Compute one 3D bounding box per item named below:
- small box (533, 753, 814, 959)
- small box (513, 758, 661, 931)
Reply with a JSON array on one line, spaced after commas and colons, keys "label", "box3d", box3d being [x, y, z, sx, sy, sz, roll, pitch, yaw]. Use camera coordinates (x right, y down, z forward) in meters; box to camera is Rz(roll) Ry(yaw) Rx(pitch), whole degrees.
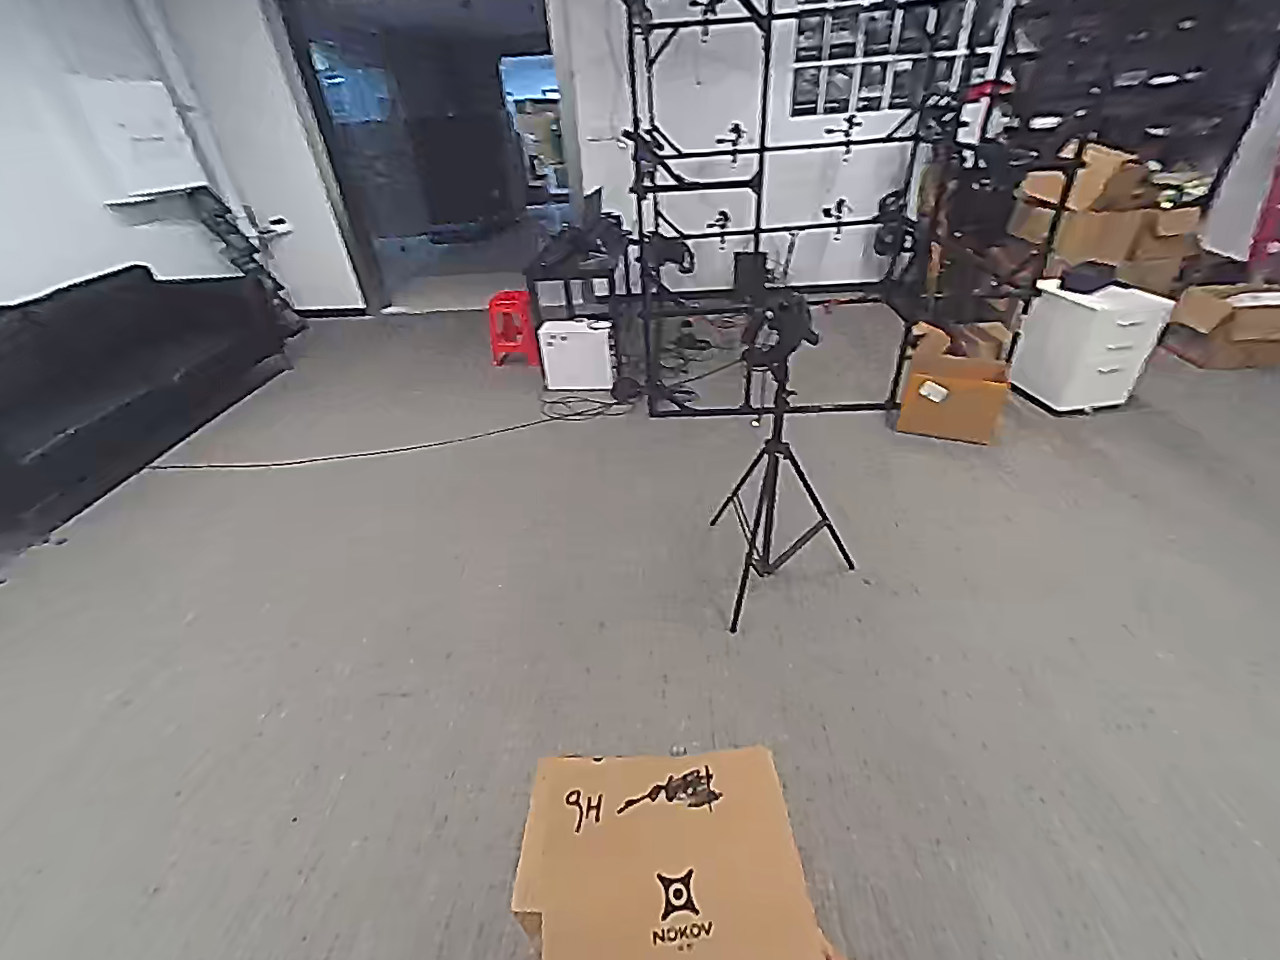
[{"label": "small box", "box3d": [0.016, 0.318, 0.385, 0.168, 0.176, 0.179, -4, 49, -7]}, {"label": "small box", "box3d": [-0.051, 0.494, 0.711, 0.168, 0.176, 0.179, -3, 37, 6]}]
